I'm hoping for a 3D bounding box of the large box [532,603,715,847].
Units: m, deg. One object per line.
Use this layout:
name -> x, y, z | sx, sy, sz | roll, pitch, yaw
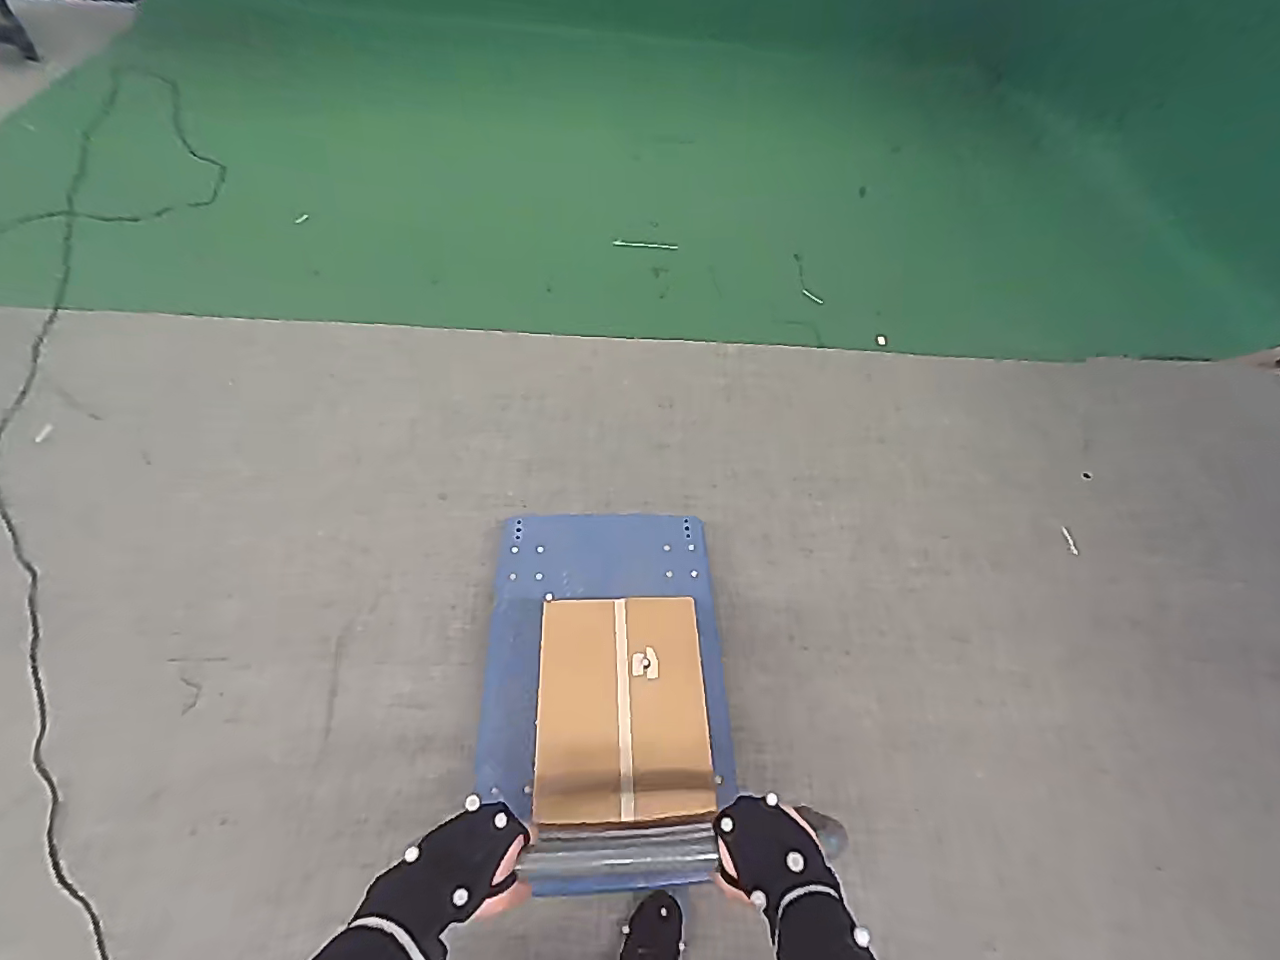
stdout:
large box -> -0.049, 0.510, 1.131 | 0.320, 0.320, 0.408 | 0, 54, -6
